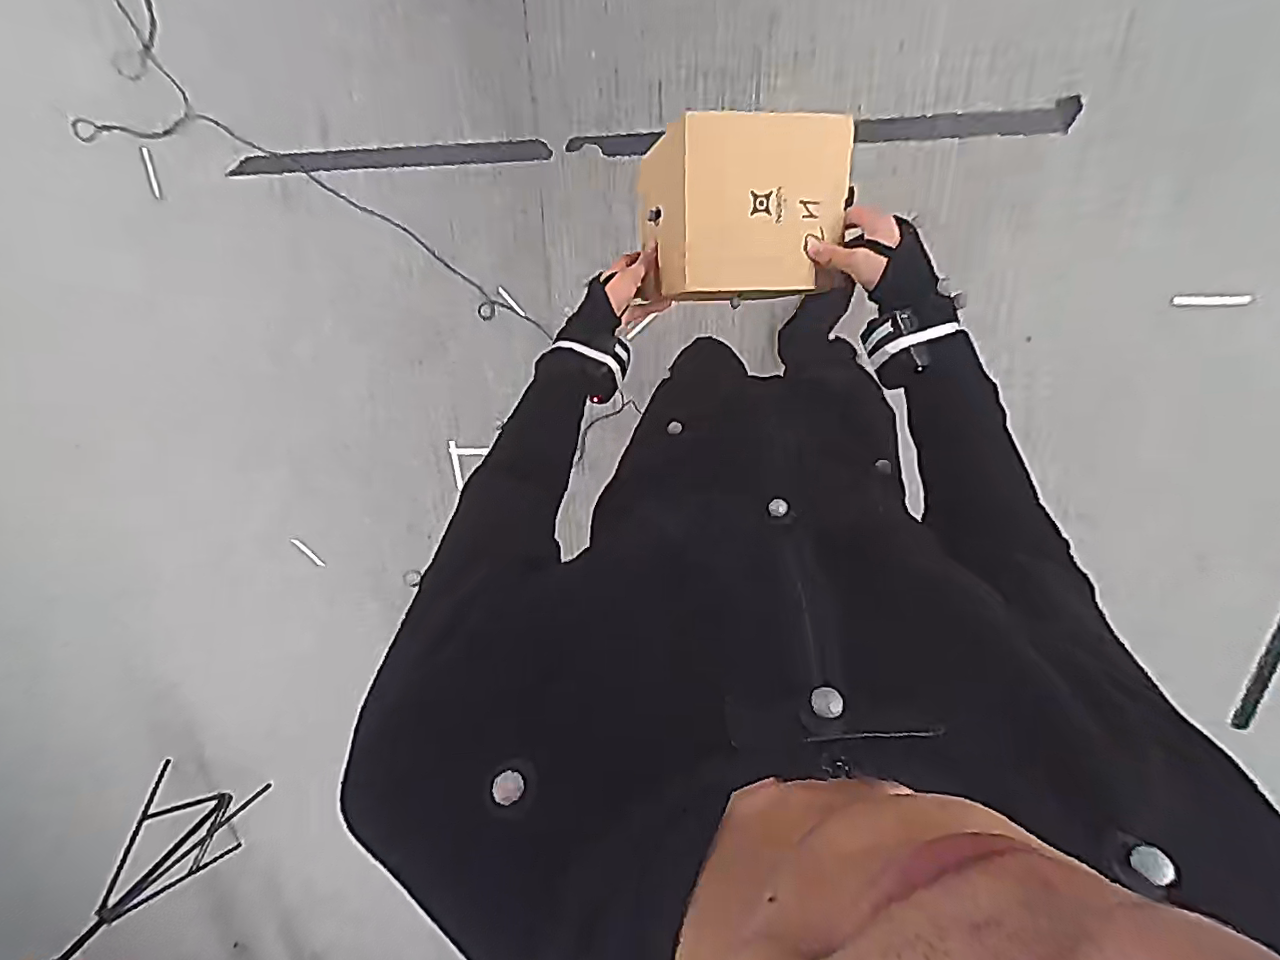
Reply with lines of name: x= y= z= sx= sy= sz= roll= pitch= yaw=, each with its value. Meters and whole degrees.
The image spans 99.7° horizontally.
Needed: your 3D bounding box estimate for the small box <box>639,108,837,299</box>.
small box: x=0.100 y=-0.302 z=0.628 sx=0.179 sy=0.176 sz=0.168 roll=-6 pitch=107 yaw=-16
